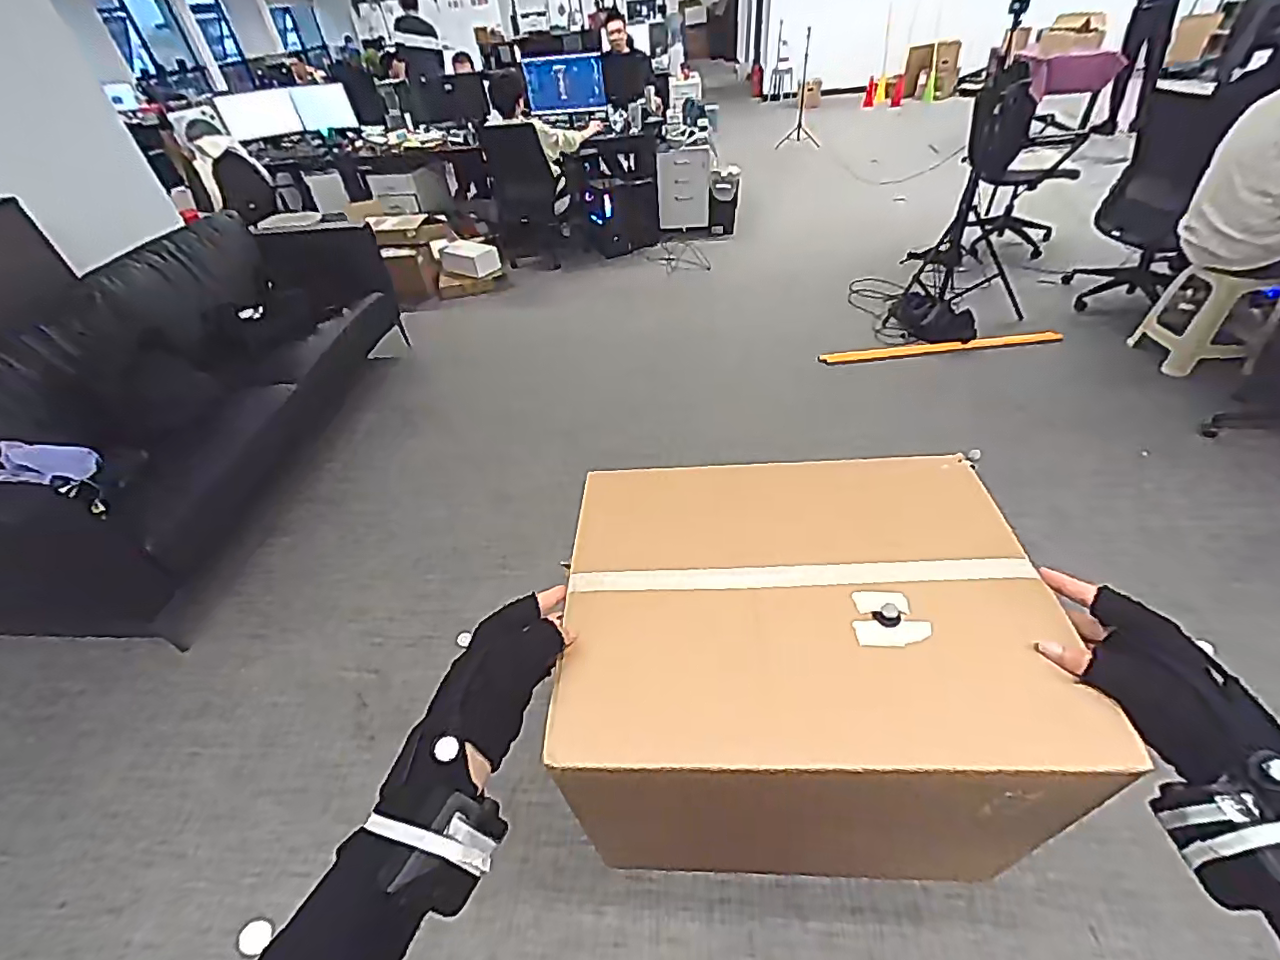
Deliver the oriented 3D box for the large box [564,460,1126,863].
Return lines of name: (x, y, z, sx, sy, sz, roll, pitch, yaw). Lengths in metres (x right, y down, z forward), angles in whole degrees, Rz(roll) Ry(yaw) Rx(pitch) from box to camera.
large box: (0.154, 0.199, 0.592, 0.408, 0.320, 0.320, -2, 44, 5)
